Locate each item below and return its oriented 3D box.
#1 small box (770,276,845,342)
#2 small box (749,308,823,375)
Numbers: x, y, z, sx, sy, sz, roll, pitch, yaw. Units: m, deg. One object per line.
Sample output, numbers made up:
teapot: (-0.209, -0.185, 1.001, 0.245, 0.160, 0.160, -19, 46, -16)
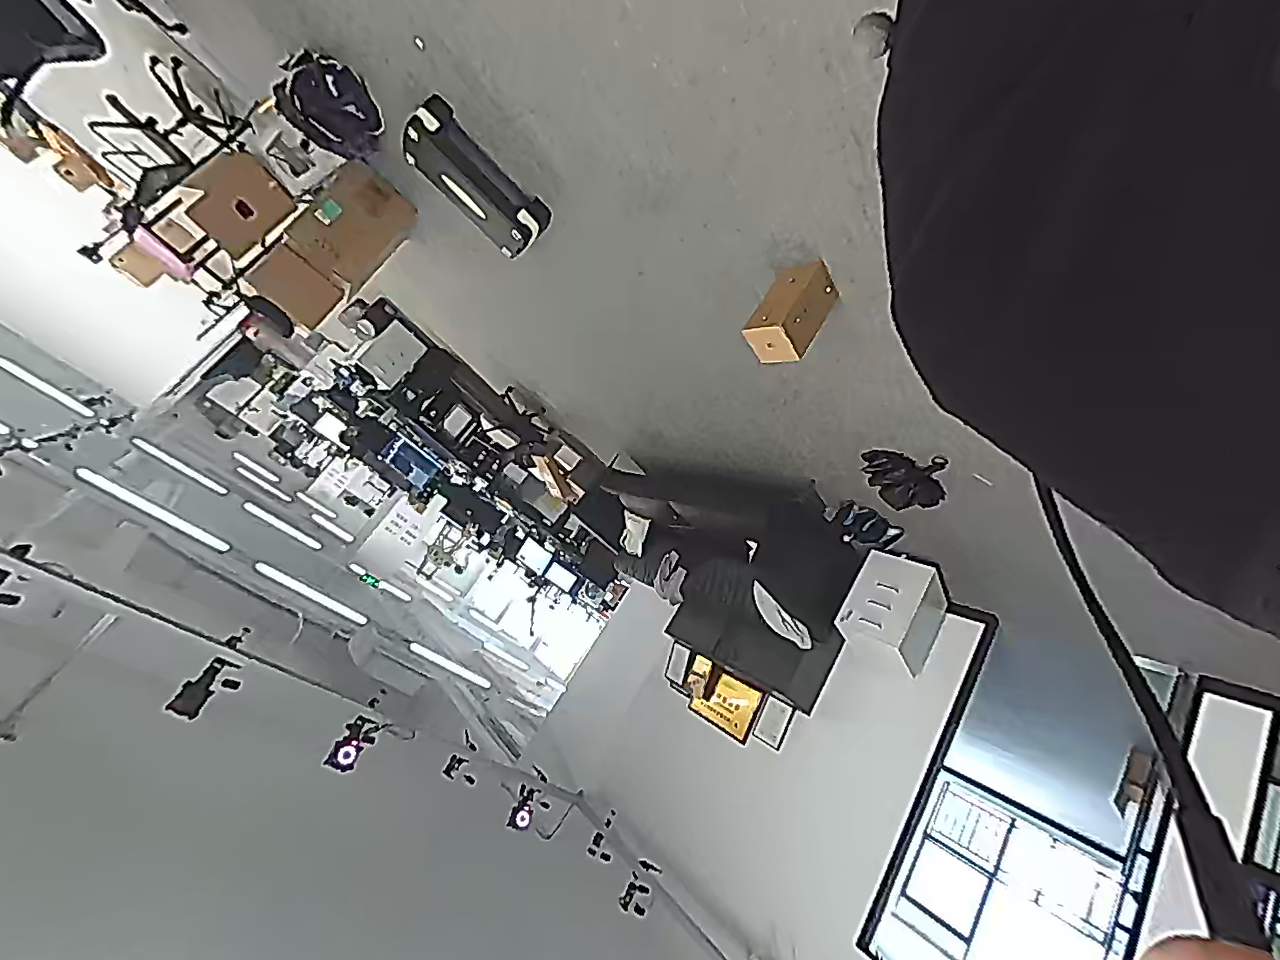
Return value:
small box: (0.621, -0.624, 1.993, 0.179, 0.176, 0.168, 11, 151, 52)
small box: (0.533, -0.497, 1.945, 0.168, 0.176, 0.179, 46, 160, -31)
